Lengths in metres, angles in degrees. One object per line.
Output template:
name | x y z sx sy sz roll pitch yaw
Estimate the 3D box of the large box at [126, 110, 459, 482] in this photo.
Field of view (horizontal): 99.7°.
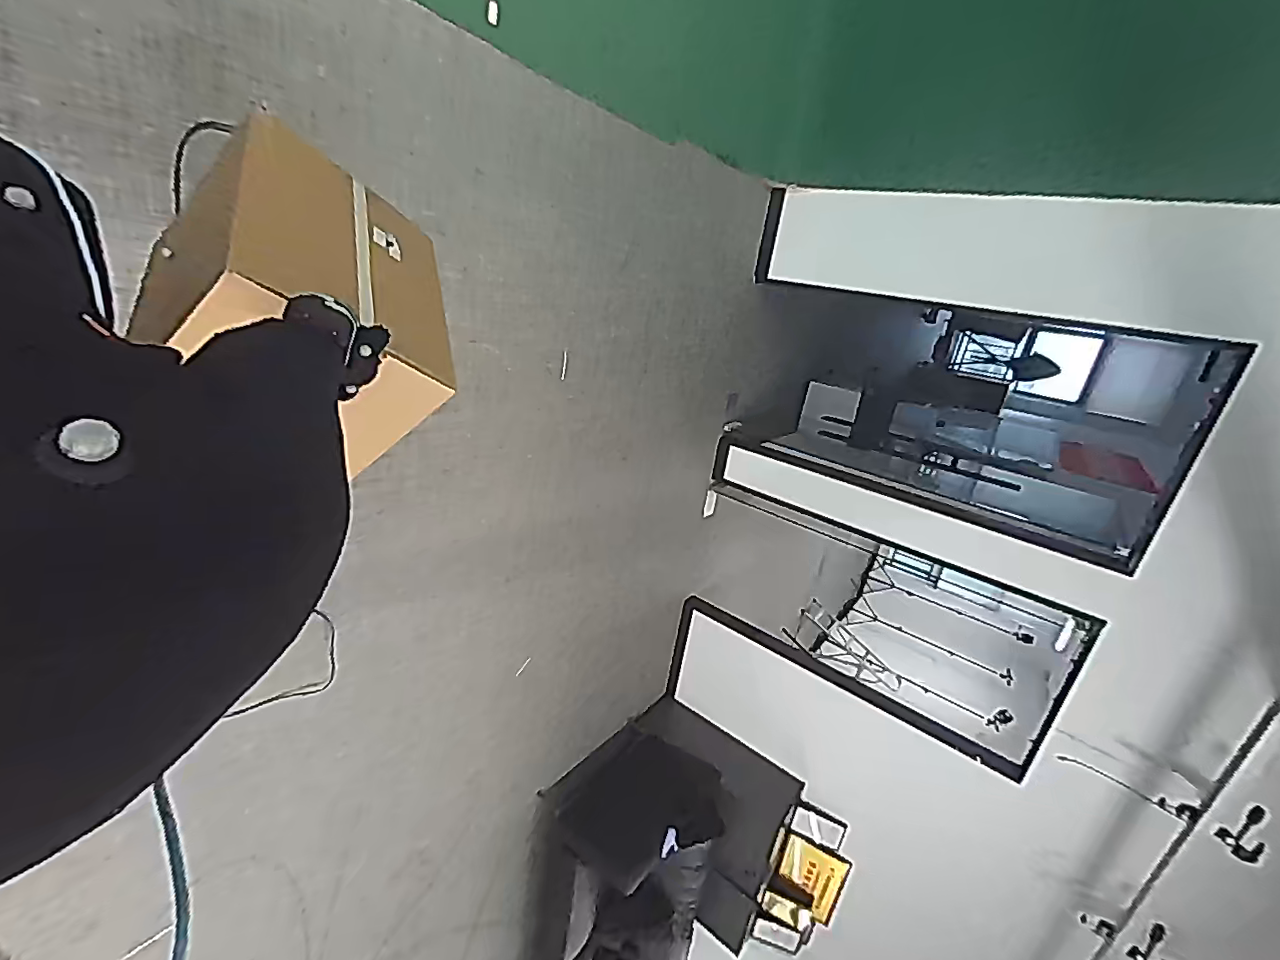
large box | -0.540 -0.267 0.869 0.320 0.408 0.320 -33 147 19
